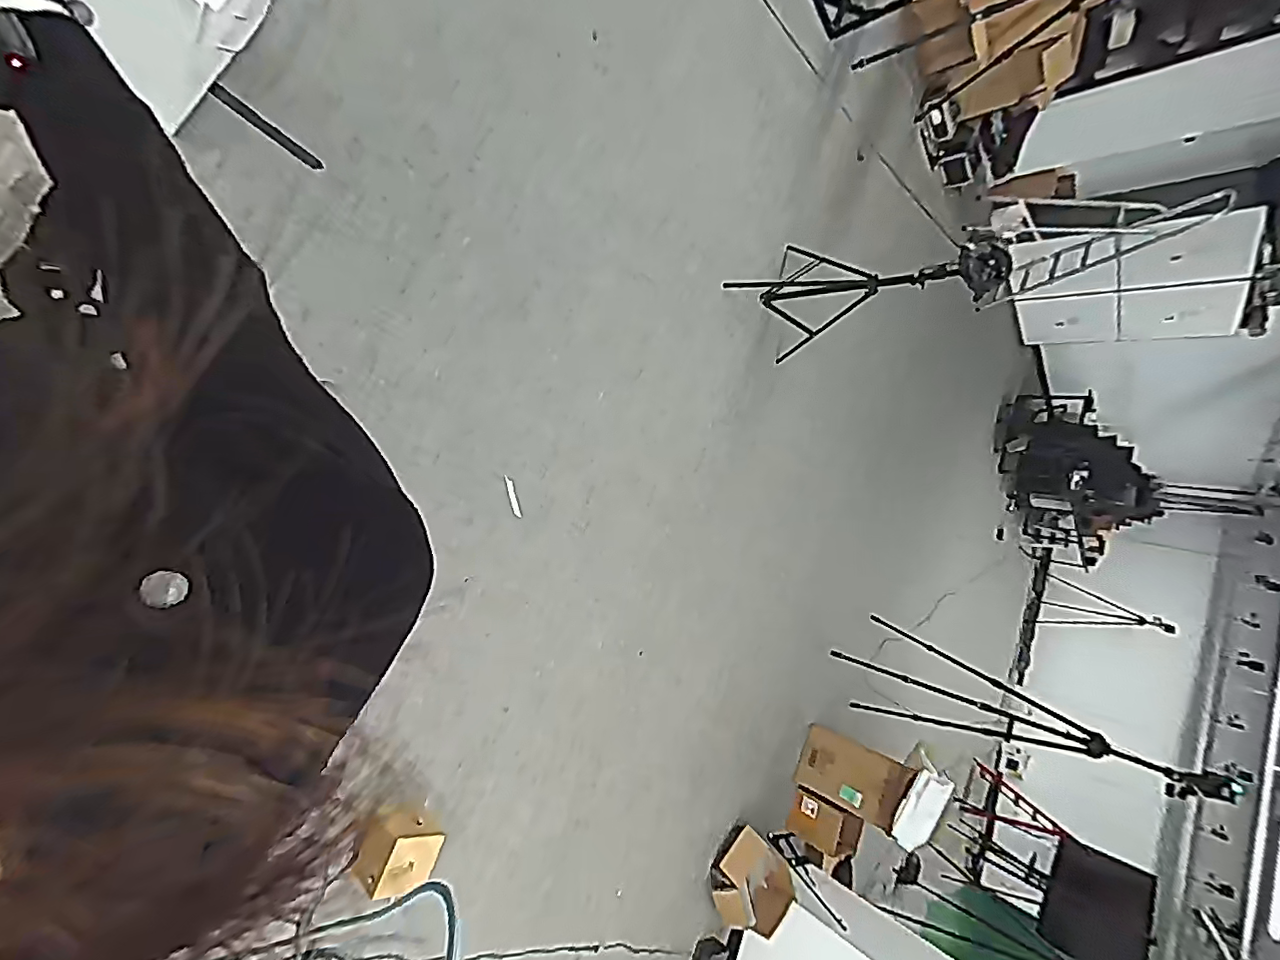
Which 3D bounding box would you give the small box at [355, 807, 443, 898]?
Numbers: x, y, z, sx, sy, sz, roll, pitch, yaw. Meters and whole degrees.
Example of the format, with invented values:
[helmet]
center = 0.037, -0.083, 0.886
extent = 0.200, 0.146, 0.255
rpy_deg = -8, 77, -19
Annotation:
[small box]
center = -0.752, 1.142, 1.677
extent = 0.168, 0.176, 0.179
rpy_deg = 32, 76, -43
